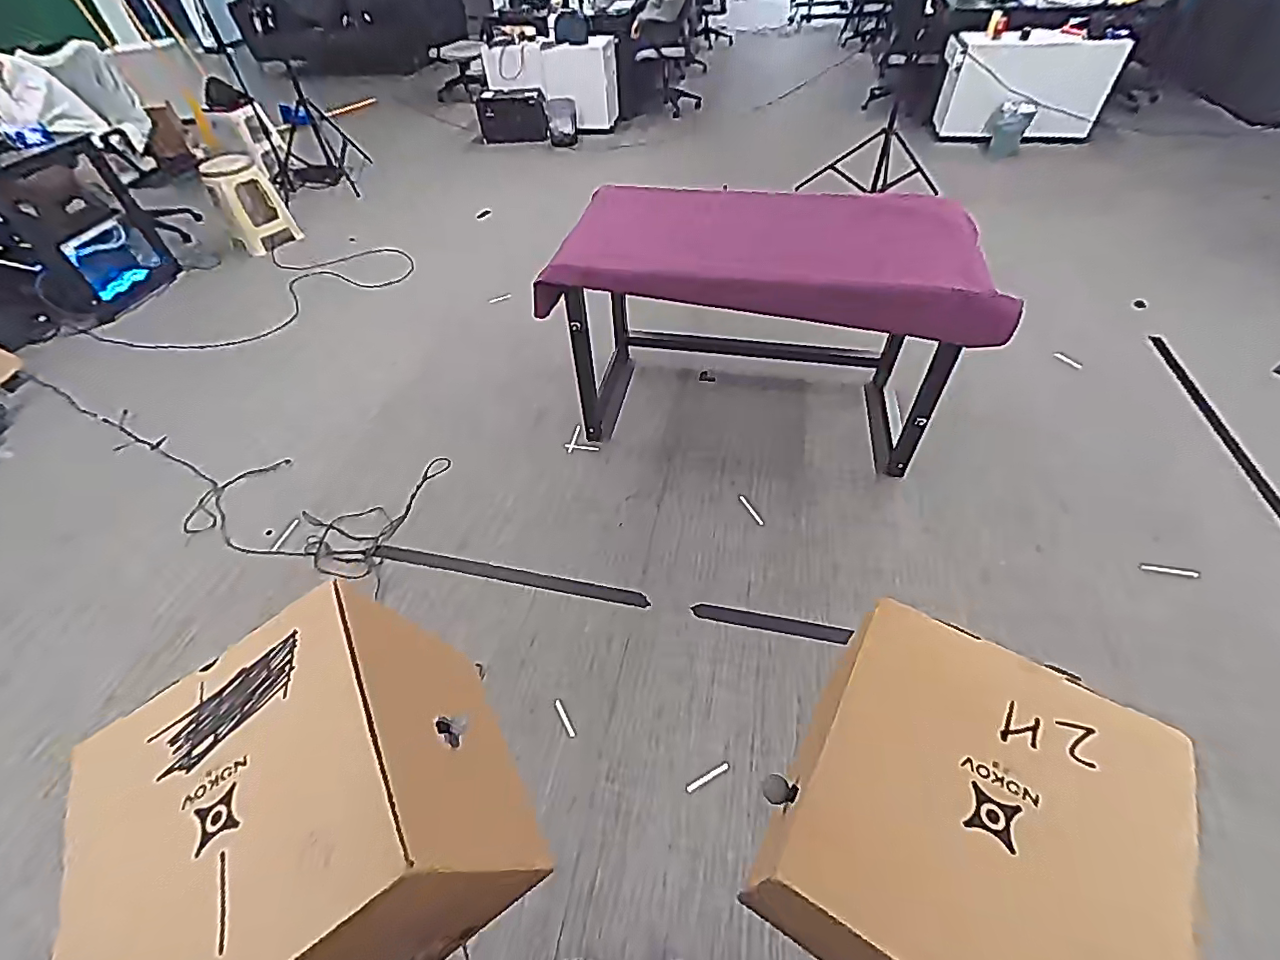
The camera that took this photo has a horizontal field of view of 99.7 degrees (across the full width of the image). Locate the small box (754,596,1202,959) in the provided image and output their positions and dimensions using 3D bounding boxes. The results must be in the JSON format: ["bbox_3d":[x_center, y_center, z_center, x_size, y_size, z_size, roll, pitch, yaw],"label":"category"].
[{"bbox_3d":[0.181,0.213,0.331,0.168,0.176,0.179,25,54,20],"label":"small box"}]

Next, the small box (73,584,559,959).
[{"bbox_3d":[-0.178,0.204,0.332,0.168,0.176,0.179,-36,53,-8],"label":"small box"}]
